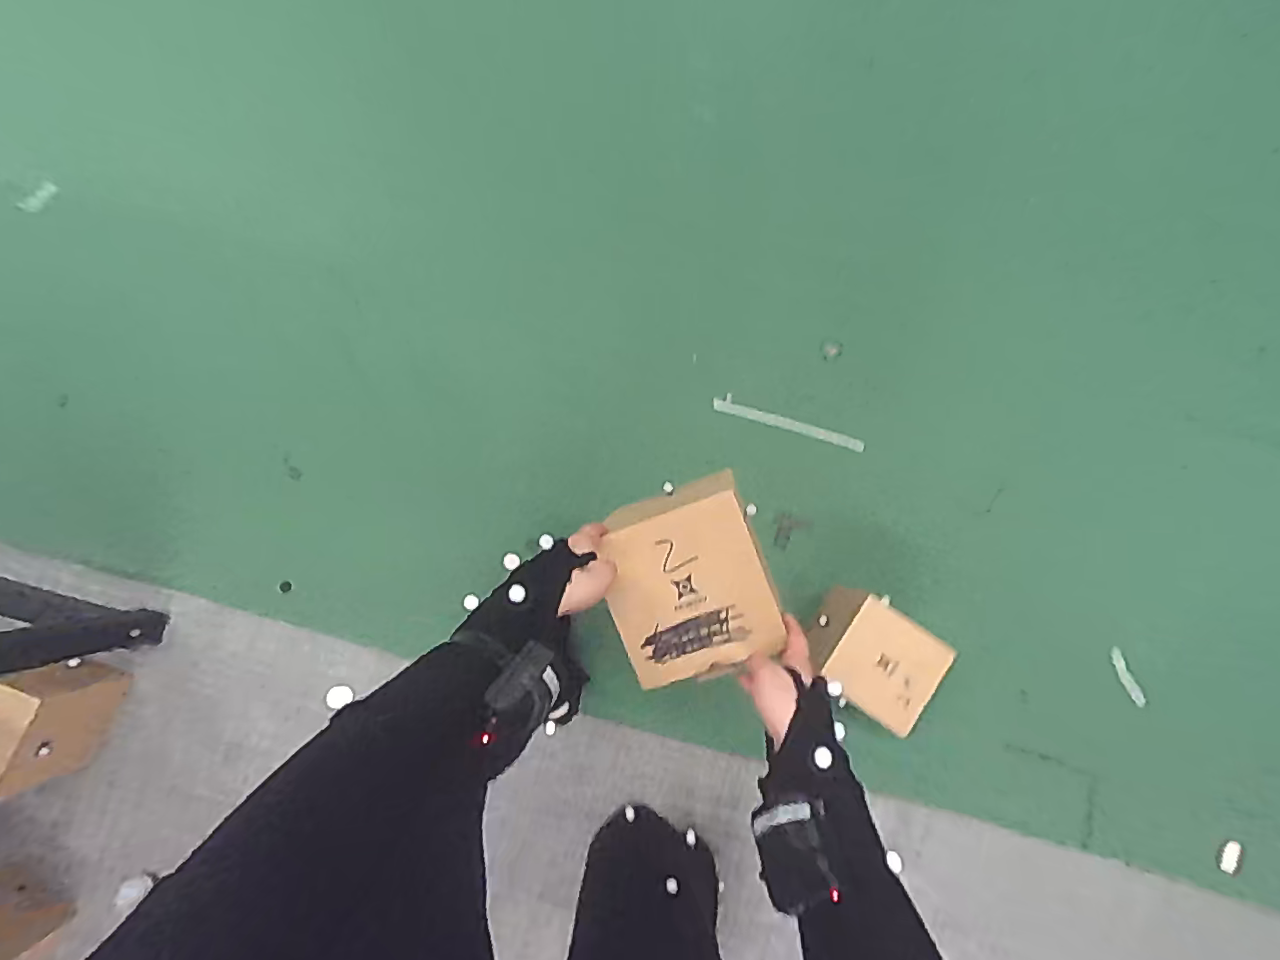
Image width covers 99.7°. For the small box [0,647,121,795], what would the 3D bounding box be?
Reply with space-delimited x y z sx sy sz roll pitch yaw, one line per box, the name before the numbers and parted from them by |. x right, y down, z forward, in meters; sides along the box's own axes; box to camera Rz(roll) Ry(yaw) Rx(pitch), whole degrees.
small box | -1.075 0.414 0.937 0.168 0.176 0.179 21 84 1

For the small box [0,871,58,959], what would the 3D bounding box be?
small box | -1.150 0.812 0.898 0.168 0.176 0.179 36 86 3

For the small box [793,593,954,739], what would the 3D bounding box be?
small box | 0.404 0.319 0.972 0.179 0.176 0.168 35 85 2
